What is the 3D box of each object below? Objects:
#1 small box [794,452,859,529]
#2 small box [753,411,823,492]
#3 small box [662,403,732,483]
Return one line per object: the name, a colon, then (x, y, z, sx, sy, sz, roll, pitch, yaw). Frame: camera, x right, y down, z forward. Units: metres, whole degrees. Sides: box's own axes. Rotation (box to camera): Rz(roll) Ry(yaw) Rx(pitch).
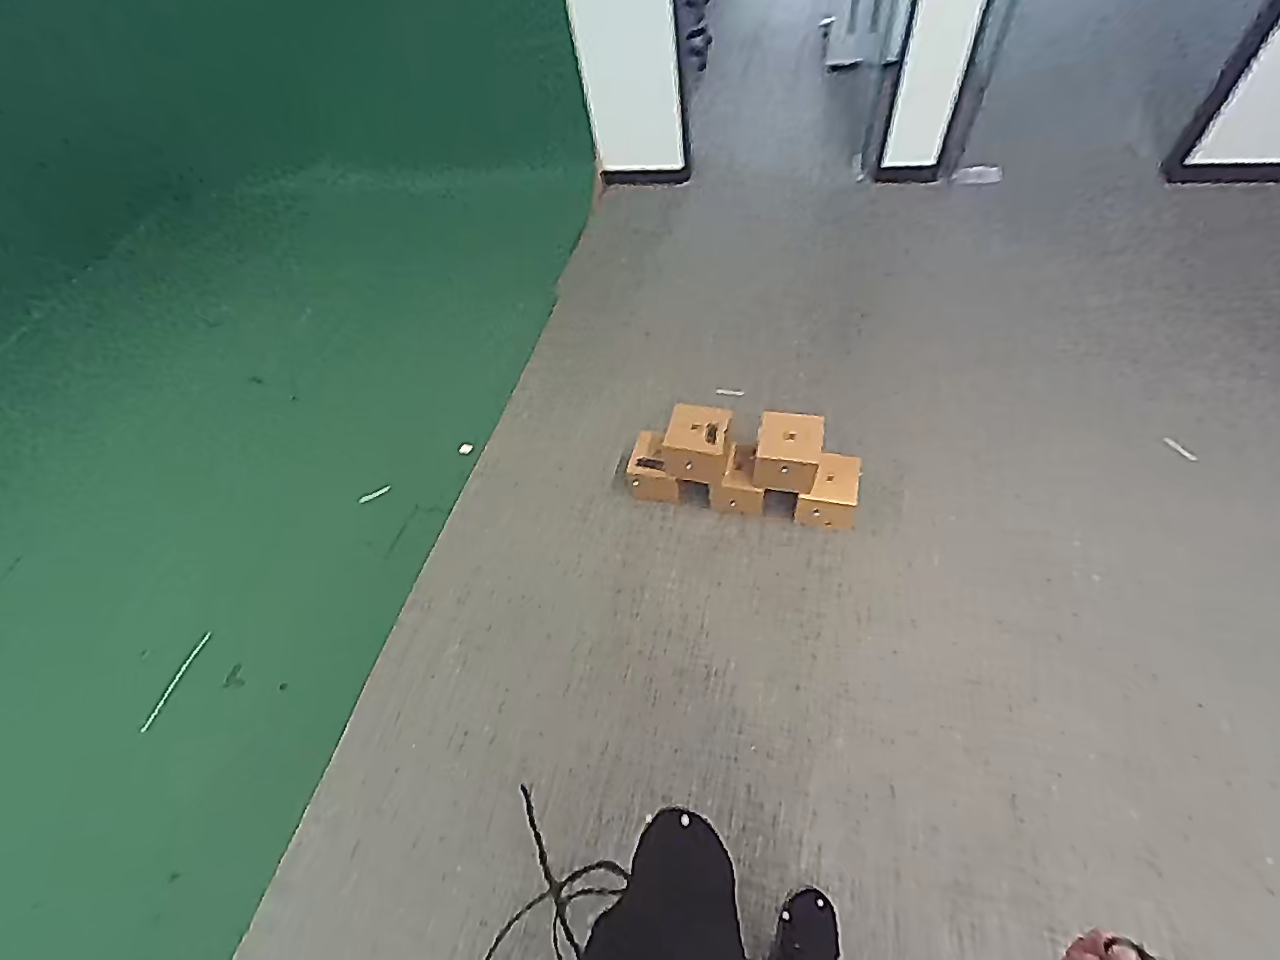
small box: (0.581, 0.033, 1.691, 0.168, 0.176, 0.179, 9, 59, 15)
small box: (0.431, -0.080, 1.591, 0.179, 0.176, 0.168, 8, 59, 12)
small box: (0.179, -0.109, 1.649, 0.179, 0.176, 0.168, 10, 59, 16)
